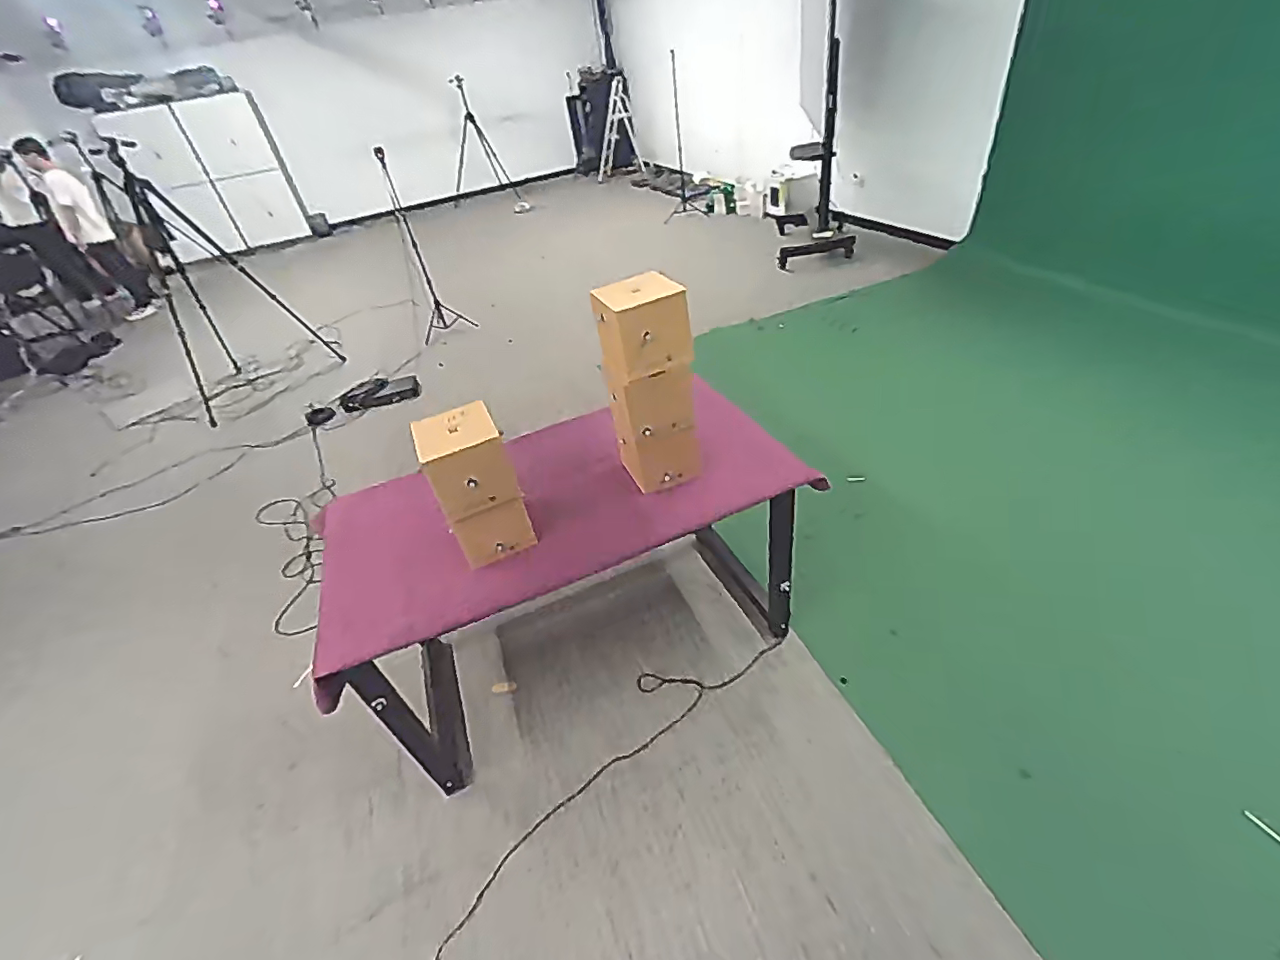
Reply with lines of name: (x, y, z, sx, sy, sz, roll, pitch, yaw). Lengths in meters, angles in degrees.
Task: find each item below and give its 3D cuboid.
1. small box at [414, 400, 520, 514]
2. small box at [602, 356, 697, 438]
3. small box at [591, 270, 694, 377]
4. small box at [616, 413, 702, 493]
small box: (-0.378, -0.046, 1.193, 0.168, 0.176, 0.179, -21, 40, -14)
small box: (0.026, -0.219, 1.314, 0.168, 0.176, 0.179, -21, 38, -10)
small box: (0.009, -0.349, 1.218, 0.168, 0.176, 0.179, -22, 38, -12)
small box: (0.051, -0.095, 1.418, 0.168, 0.176, 0.179, -21, 39, -10)
